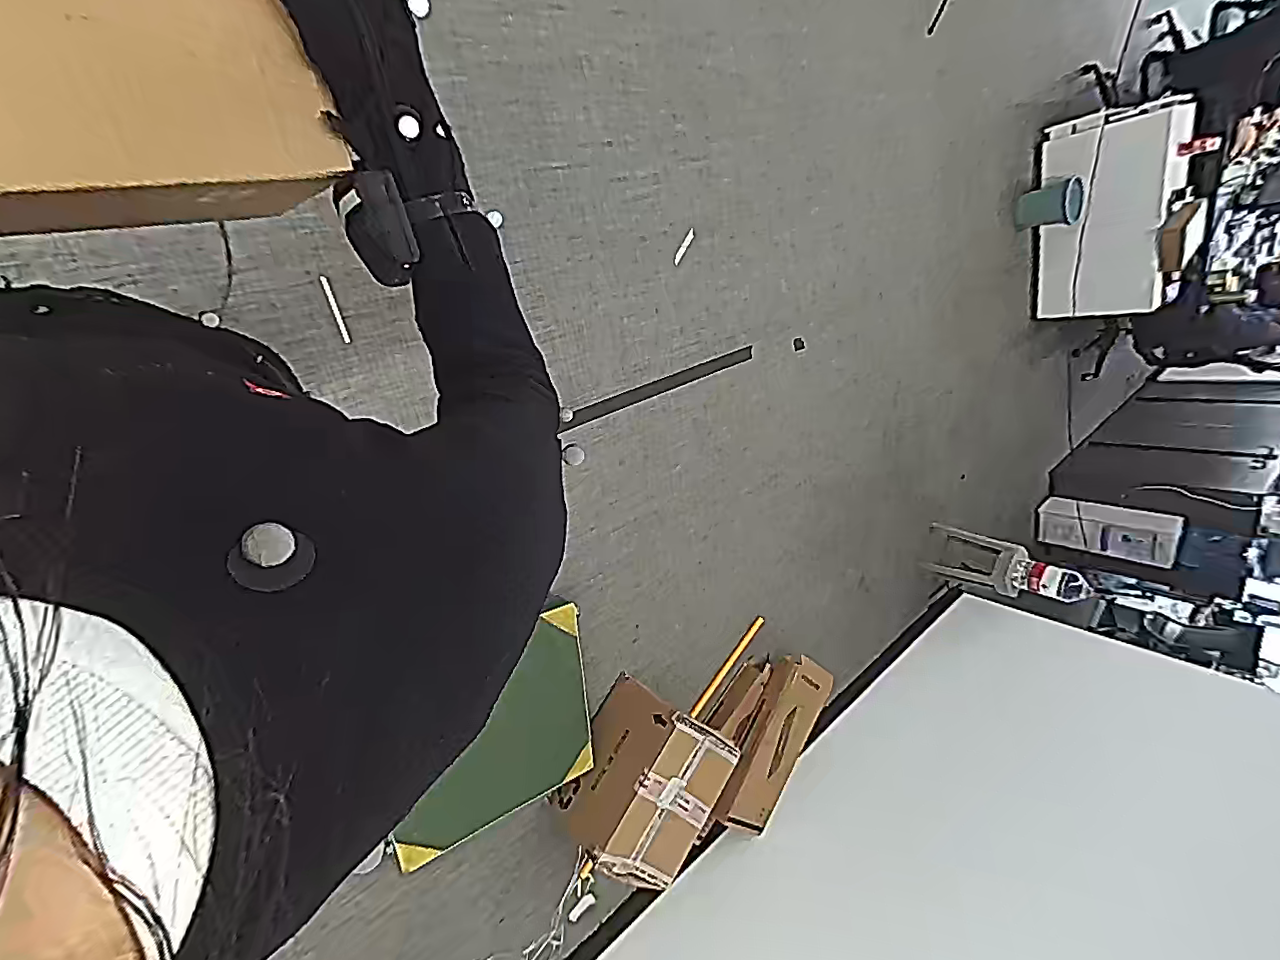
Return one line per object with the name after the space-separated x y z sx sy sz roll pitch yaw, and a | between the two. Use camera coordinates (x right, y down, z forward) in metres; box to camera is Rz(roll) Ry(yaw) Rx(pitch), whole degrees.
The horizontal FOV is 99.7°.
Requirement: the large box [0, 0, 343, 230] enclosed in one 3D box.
-0.464 -0.318 0.302 0.408 0.320 0.320 -26 122 -34 | large box
